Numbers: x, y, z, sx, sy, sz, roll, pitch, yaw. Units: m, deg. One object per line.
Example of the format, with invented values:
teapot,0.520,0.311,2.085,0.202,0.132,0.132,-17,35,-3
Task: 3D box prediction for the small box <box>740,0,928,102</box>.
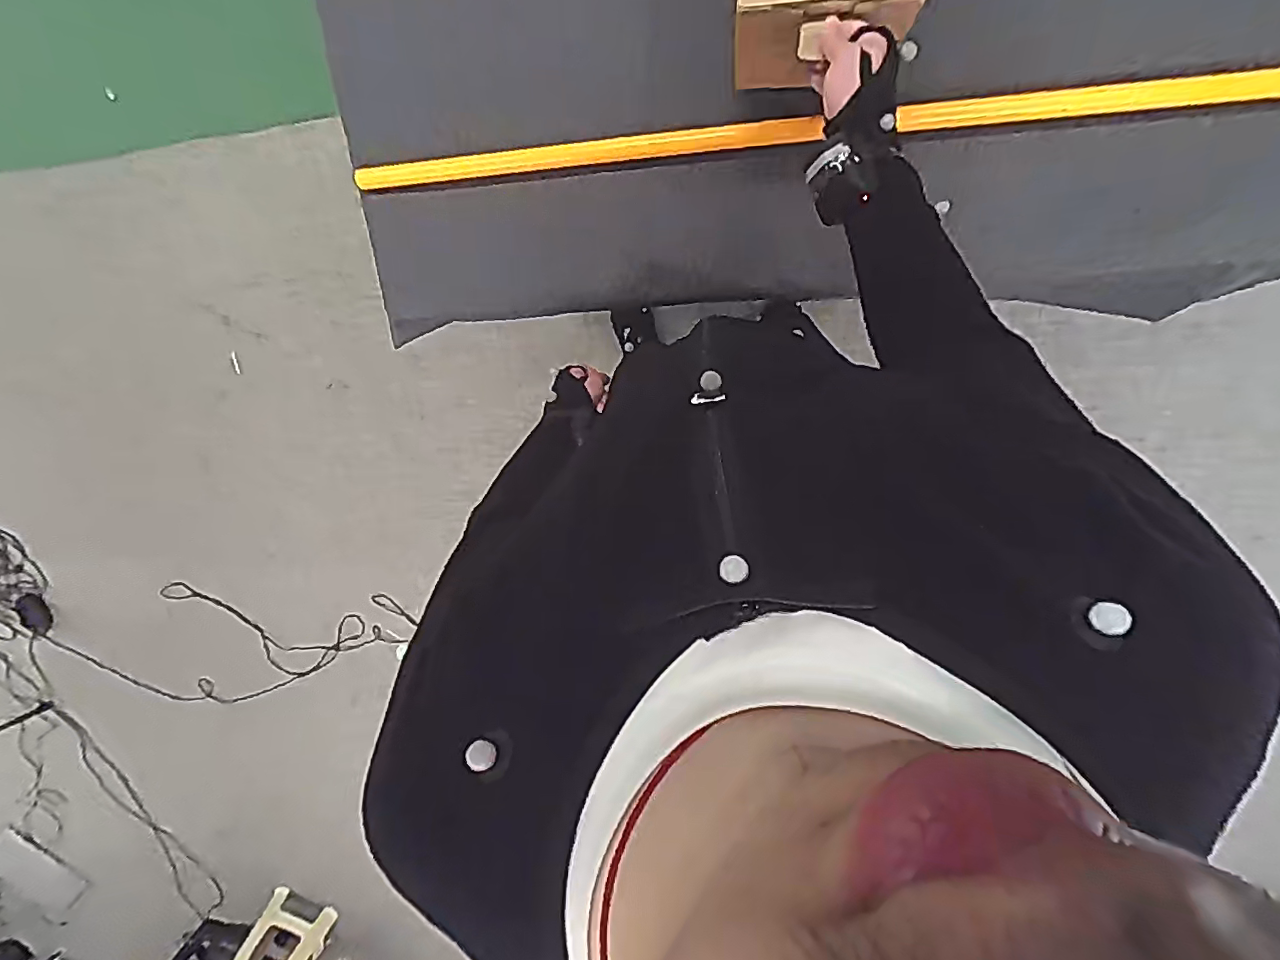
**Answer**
small box,0.189,-0.515,0.549,0.168,0.176,0.179,1,103,12
